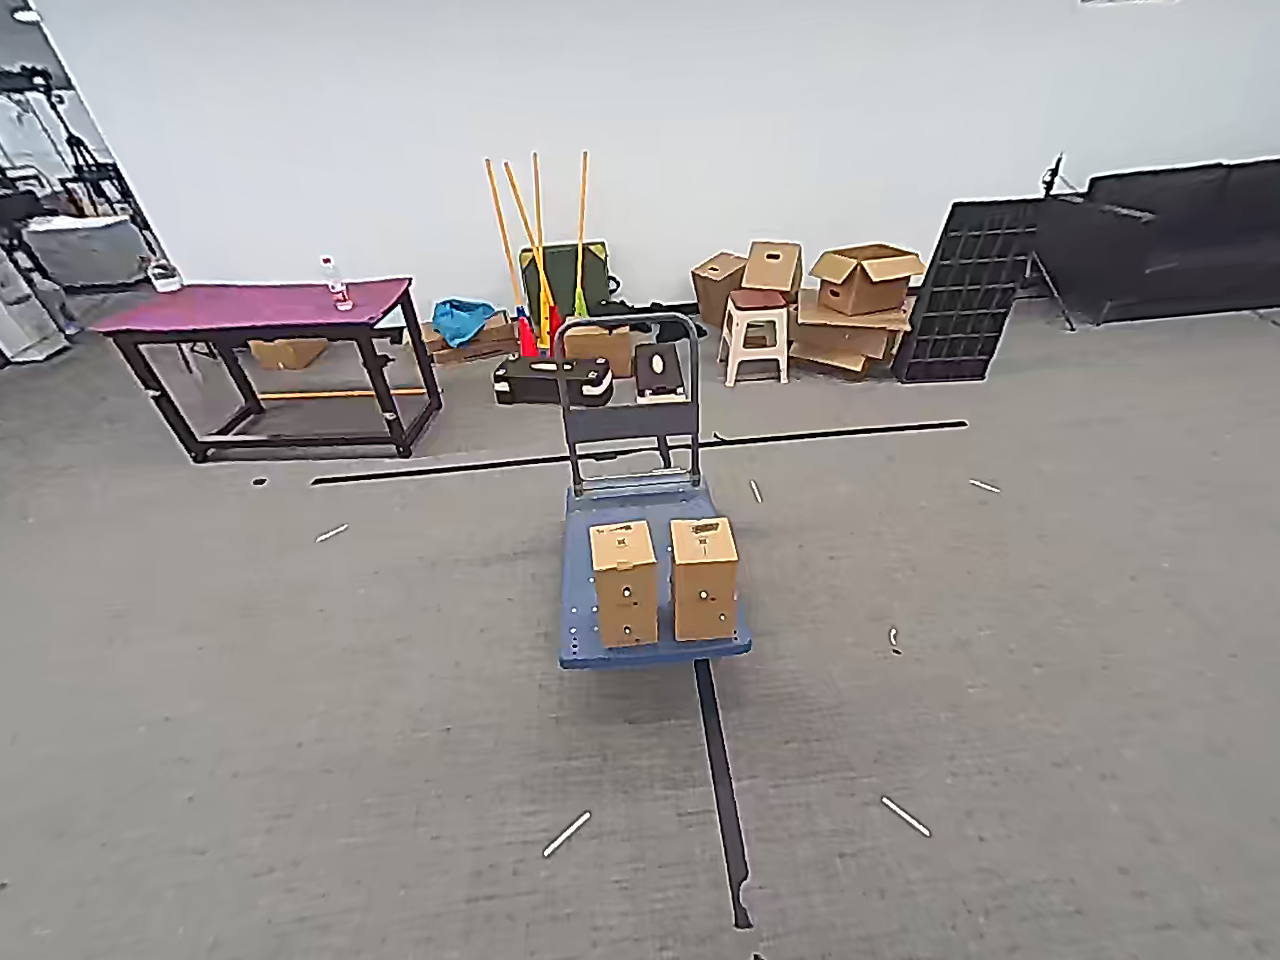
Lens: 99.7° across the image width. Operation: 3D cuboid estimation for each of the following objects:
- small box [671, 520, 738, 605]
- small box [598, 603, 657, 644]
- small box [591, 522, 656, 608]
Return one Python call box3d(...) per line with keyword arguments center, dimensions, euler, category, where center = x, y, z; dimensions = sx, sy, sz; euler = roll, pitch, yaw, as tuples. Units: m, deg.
box3d(center=(0.175, 0.231, 1.523), dimensions=(0.168, 0.176, 0.179), euler=(-2, 37, 0), category="small box")
box3d(center=(-0.038, 0.376, 1.619), dimensions=(0.168, 0.176, 0.179), euler=(-4, 36, -3), category="small box")
box3d(center=(-0.046, 0.244, 1.520), dimensions=(0.168, 0.176, 0.179), euler=(-5, 37, -5), category="small box")
